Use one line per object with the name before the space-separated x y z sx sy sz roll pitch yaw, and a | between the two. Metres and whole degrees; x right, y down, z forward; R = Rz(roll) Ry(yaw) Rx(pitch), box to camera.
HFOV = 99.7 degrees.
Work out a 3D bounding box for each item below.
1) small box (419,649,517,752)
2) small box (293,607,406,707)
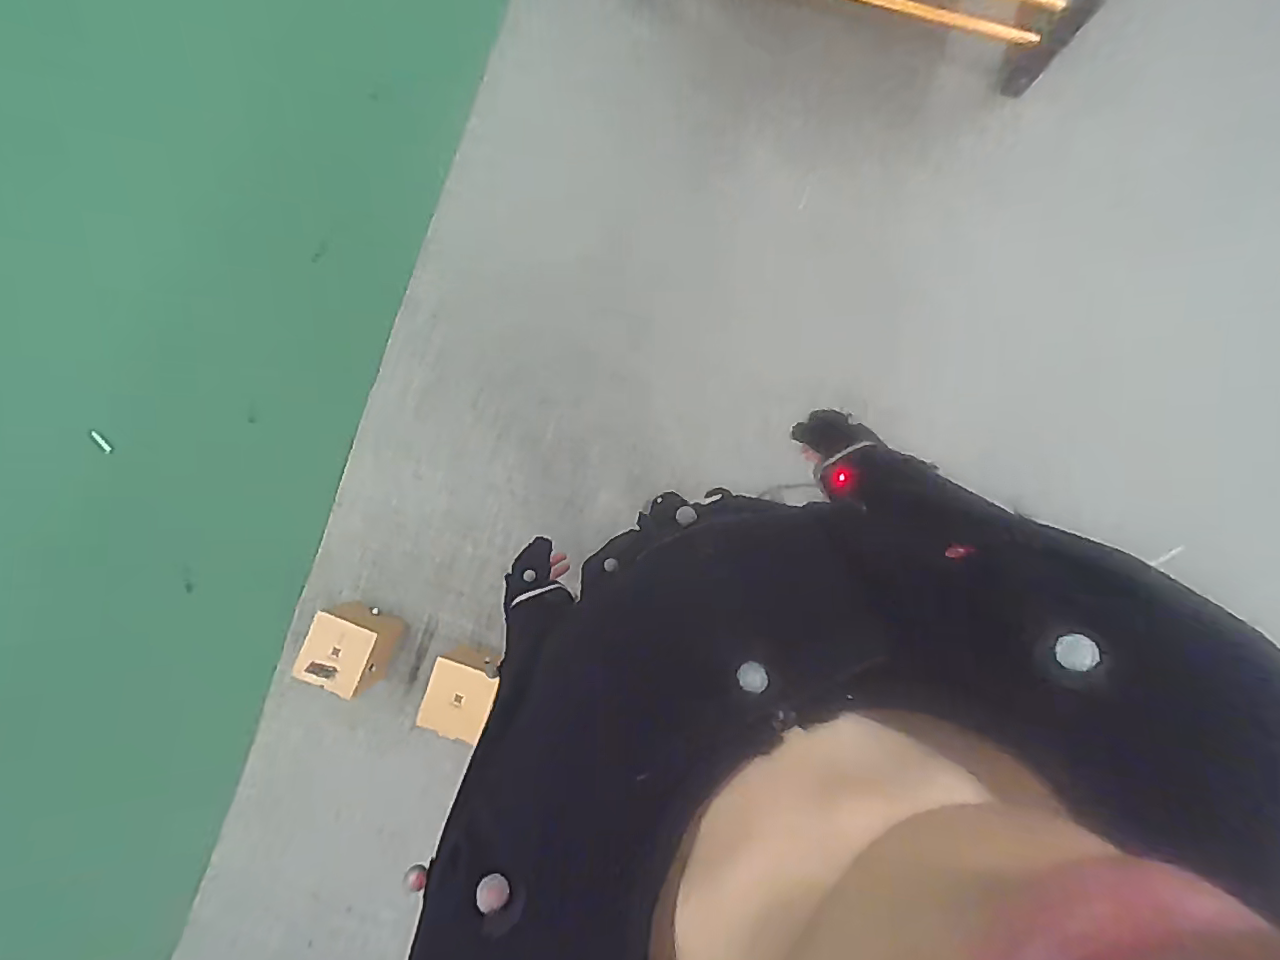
small box | -0.428 0.552 1.380 0.168 0.176 0.179 17 87 3
small box | -0.736 0.448 1.394 0.168 0.176 0.179 21 86 3
